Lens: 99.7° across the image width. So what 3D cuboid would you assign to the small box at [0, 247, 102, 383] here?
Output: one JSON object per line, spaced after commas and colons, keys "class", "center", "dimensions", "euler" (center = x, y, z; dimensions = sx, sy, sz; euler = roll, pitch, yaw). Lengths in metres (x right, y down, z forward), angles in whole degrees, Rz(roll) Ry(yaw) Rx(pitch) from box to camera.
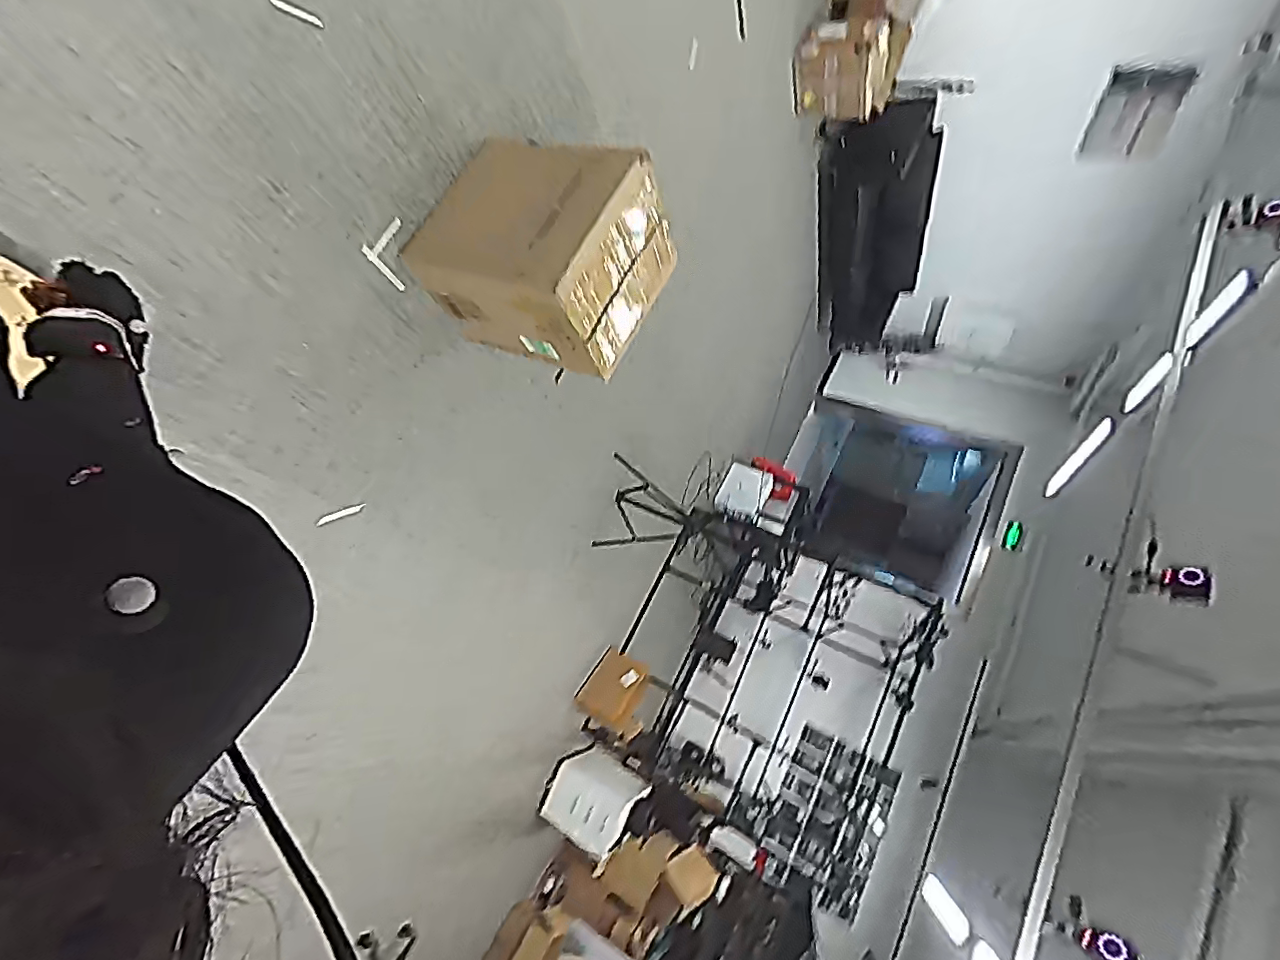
{"class": "small box", "center": [-1.135, -0.305, 0.955], "dimensions": [0.179, 0.176, 0.168], "euler": [-60, 154, -15]}
